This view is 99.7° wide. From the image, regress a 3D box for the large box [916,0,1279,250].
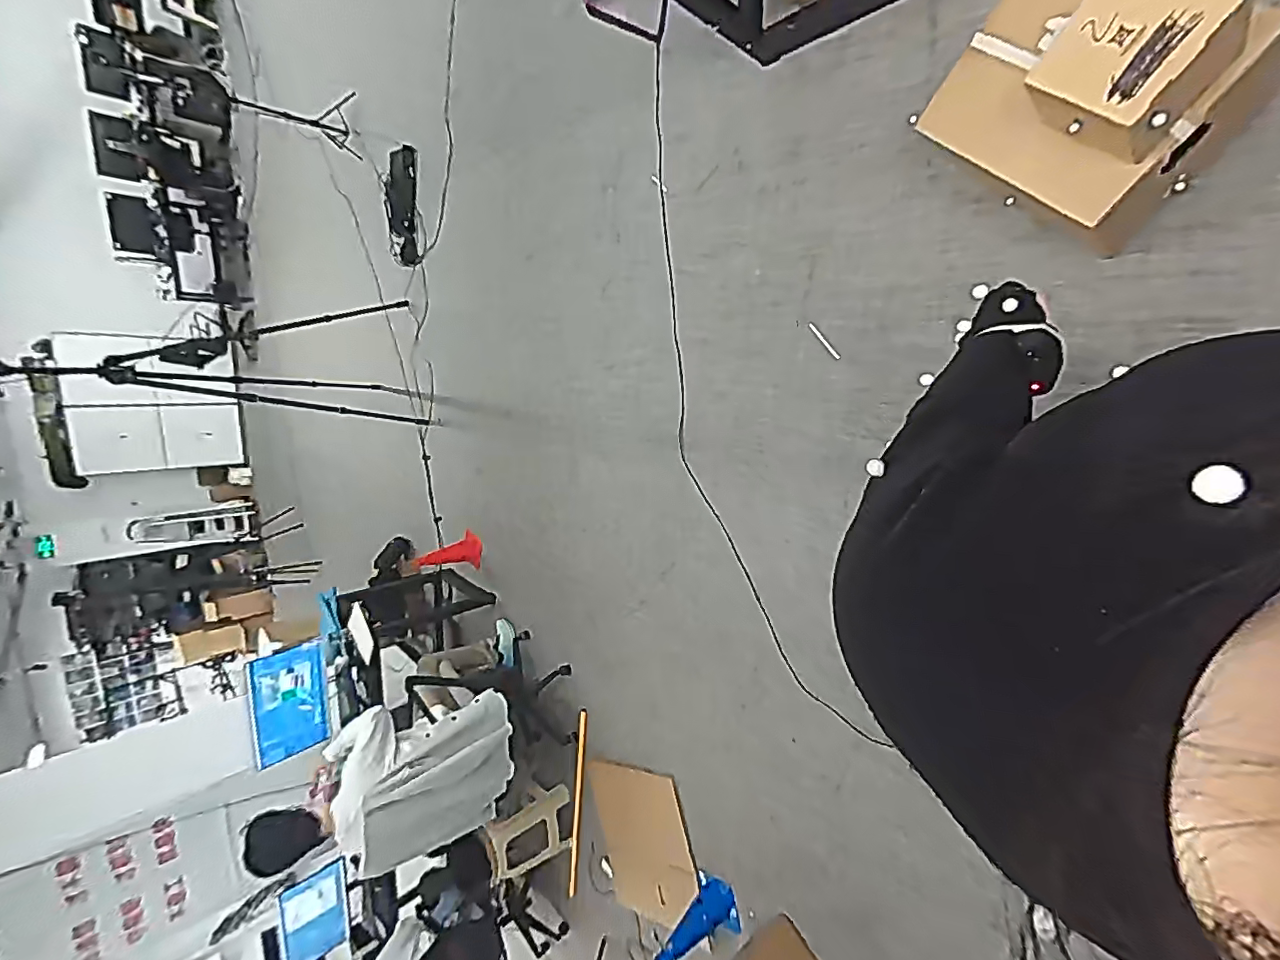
[{"bbox_3d":[0.840,-0.695,1.023,0.408,0.320,0.320,53,129,26],"label":"large box"}]
